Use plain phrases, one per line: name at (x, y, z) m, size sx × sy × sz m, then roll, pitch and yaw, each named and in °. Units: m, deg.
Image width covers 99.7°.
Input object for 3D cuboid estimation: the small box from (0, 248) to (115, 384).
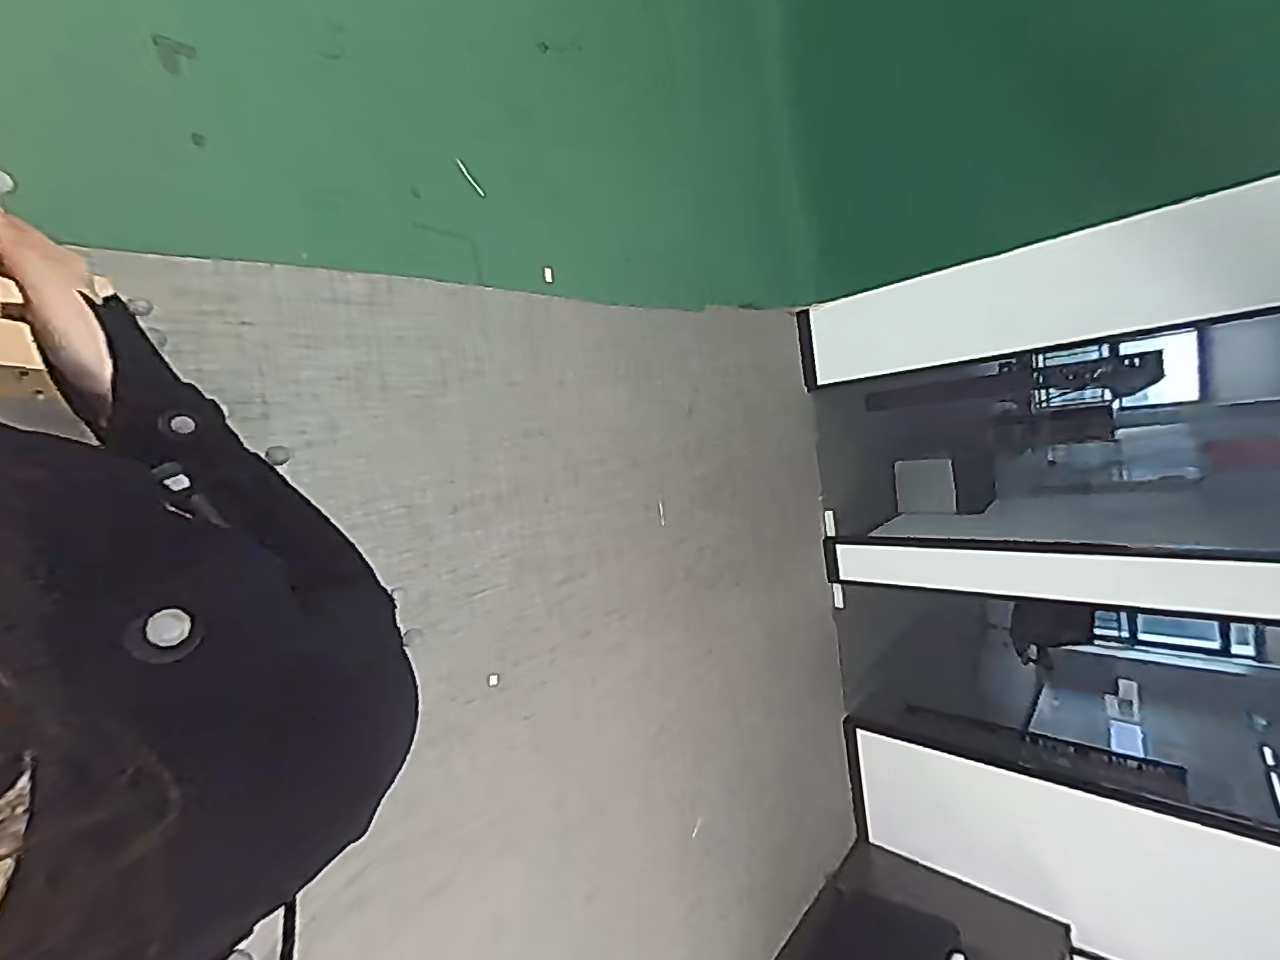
small box at (-0.971, -0.255, 0.867) m, size 0.179 × 0.176 × 0.168 m, roll 3°, pitch 87°, yaw -46°
